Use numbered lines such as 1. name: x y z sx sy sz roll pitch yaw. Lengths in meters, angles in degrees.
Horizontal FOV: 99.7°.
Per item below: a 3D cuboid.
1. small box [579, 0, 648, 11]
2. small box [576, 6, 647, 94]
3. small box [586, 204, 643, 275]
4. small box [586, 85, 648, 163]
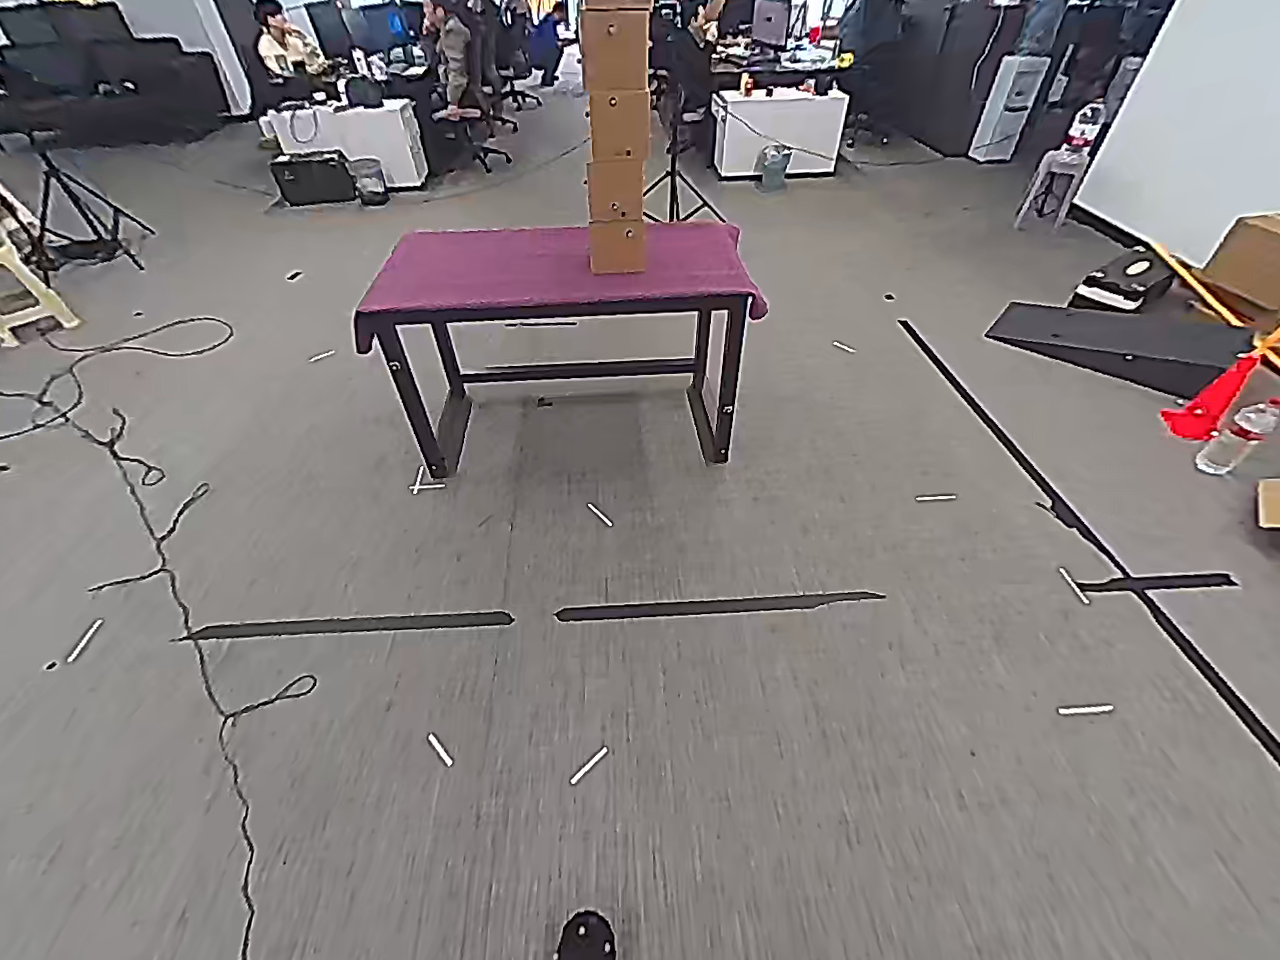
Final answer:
1. small box: -0.071 -1.270 1.336 0.168 0.176 0.179 -5 44 -6
2. small box: -0.078 -1.151 1.446 0.179 0.176 0.168 -5 45 -4
3. small box: -0.083 -0.791 1.780 0.179 0.176 0.168 -5 44 -3
4. small box: -0.068 -1.027 1.552 0.168 0.176 0.179 -5 44 -3
